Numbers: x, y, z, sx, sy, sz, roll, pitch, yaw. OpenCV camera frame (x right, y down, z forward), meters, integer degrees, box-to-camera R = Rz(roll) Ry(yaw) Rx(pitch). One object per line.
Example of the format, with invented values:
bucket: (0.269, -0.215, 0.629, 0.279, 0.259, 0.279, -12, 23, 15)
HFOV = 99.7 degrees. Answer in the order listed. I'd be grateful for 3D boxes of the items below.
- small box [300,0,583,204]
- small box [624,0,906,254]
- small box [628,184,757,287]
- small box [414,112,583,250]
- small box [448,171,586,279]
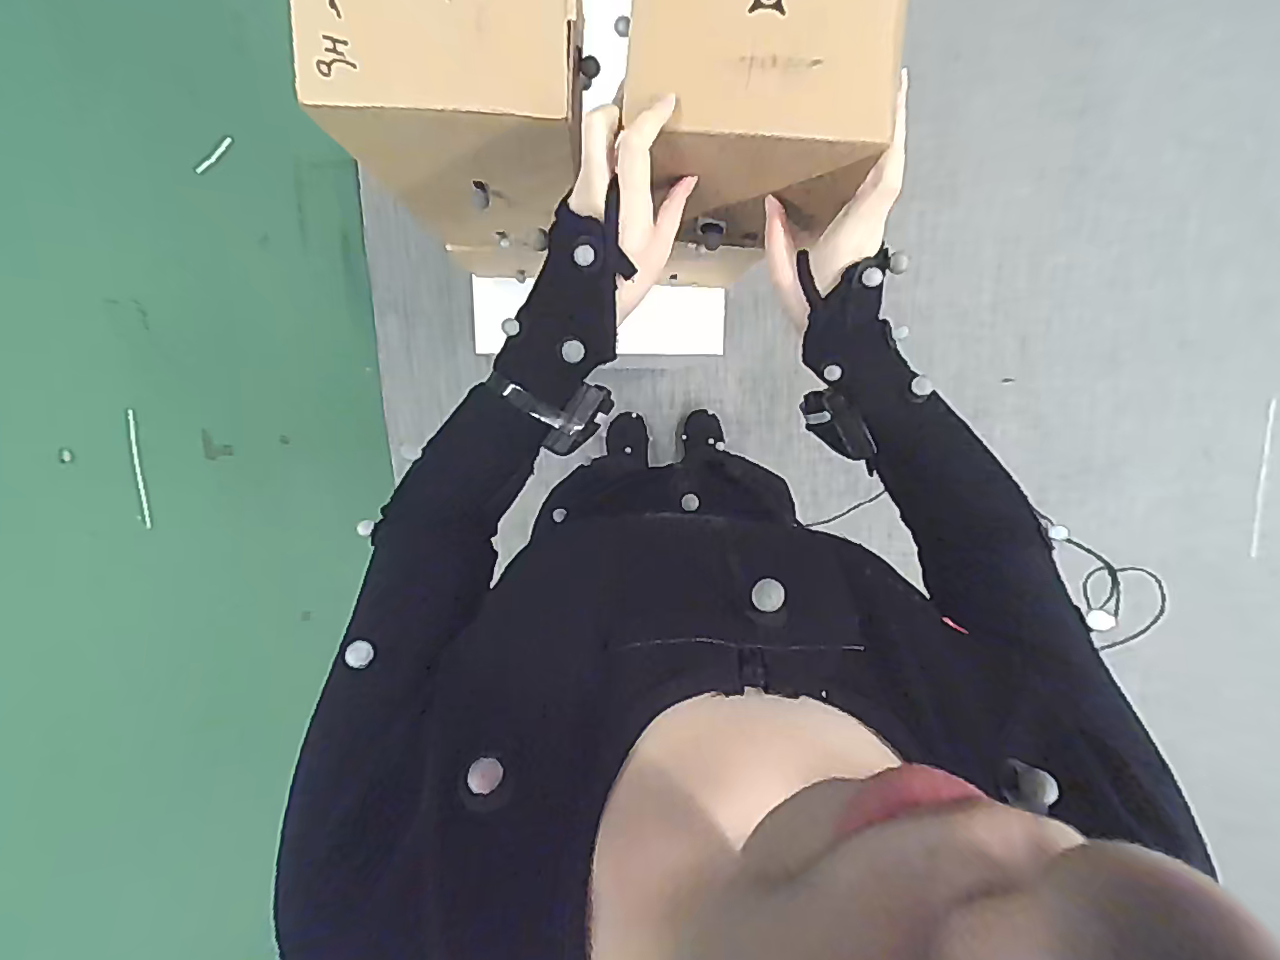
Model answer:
small box: (-0.134, -0.331, 0.422, 0.179, 0.176, 0.168, 1, 99, -5)
small box: (0.080, -0.297, 0.407, 0.168, 0.176, 0.179, 5, 90, 2)
small box: (0.070, -0.380, 0.756, 0.168, 0.176, 0.179, 2, 99, -2)
small box: (-0.148, -0.365, 0.582, 0.168, 0.176, 0.179, 1, 99, -4)
small box: (-0.162, -0.386, 0.744, 0.168, 0.176, 0.179, 0, 100, -3)
